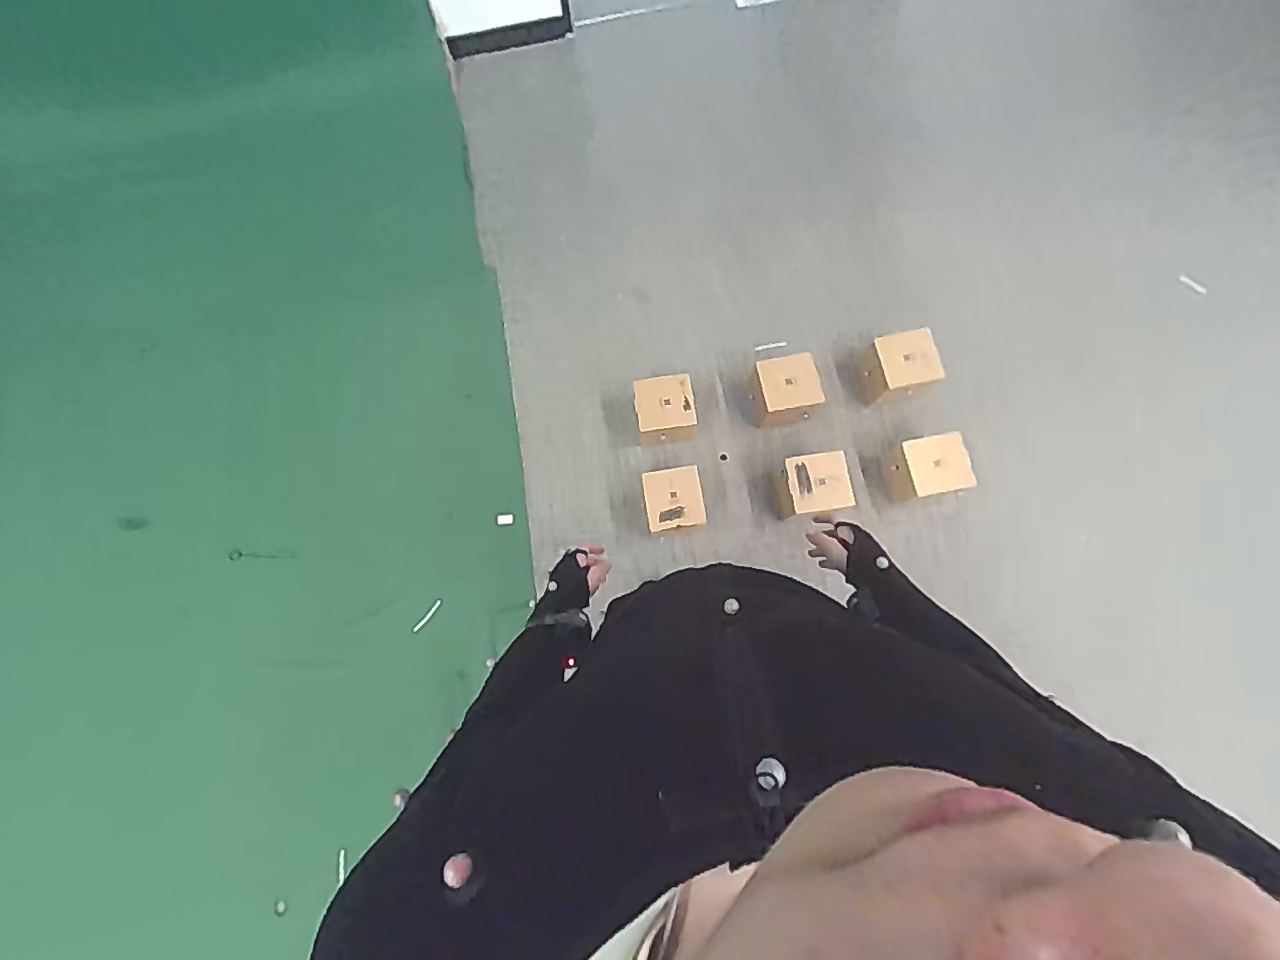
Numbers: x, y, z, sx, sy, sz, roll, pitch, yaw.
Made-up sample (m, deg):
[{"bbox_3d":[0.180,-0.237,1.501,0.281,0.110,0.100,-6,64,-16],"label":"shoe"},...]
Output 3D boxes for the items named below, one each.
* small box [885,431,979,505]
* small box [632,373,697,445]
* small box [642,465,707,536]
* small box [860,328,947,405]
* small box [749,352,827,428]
[{"bbox_3d":[0.852,-0.029,1.602,0.179,0.176,0.168,-11,77,-1],"label":"small box"},{"bbox_3d":[0.077,-0.213,1.670,0.179,0.176,0.168,-7,78,1],"label":"small box"},{"bbox_3d":[0.100,0.069,1.607,0.168,0.176,0.179,-9,77,0],"label":"small box"},{"bbox_3d":[0.801,-0.344,1.669,0.179,0.176,0.168,-11,78,-1],"label":"small box"},{"bbox_3d":[0.450,-0.274,1.668,0.179,0.176,0.168,-10,77,0],"label":"small box"}]
